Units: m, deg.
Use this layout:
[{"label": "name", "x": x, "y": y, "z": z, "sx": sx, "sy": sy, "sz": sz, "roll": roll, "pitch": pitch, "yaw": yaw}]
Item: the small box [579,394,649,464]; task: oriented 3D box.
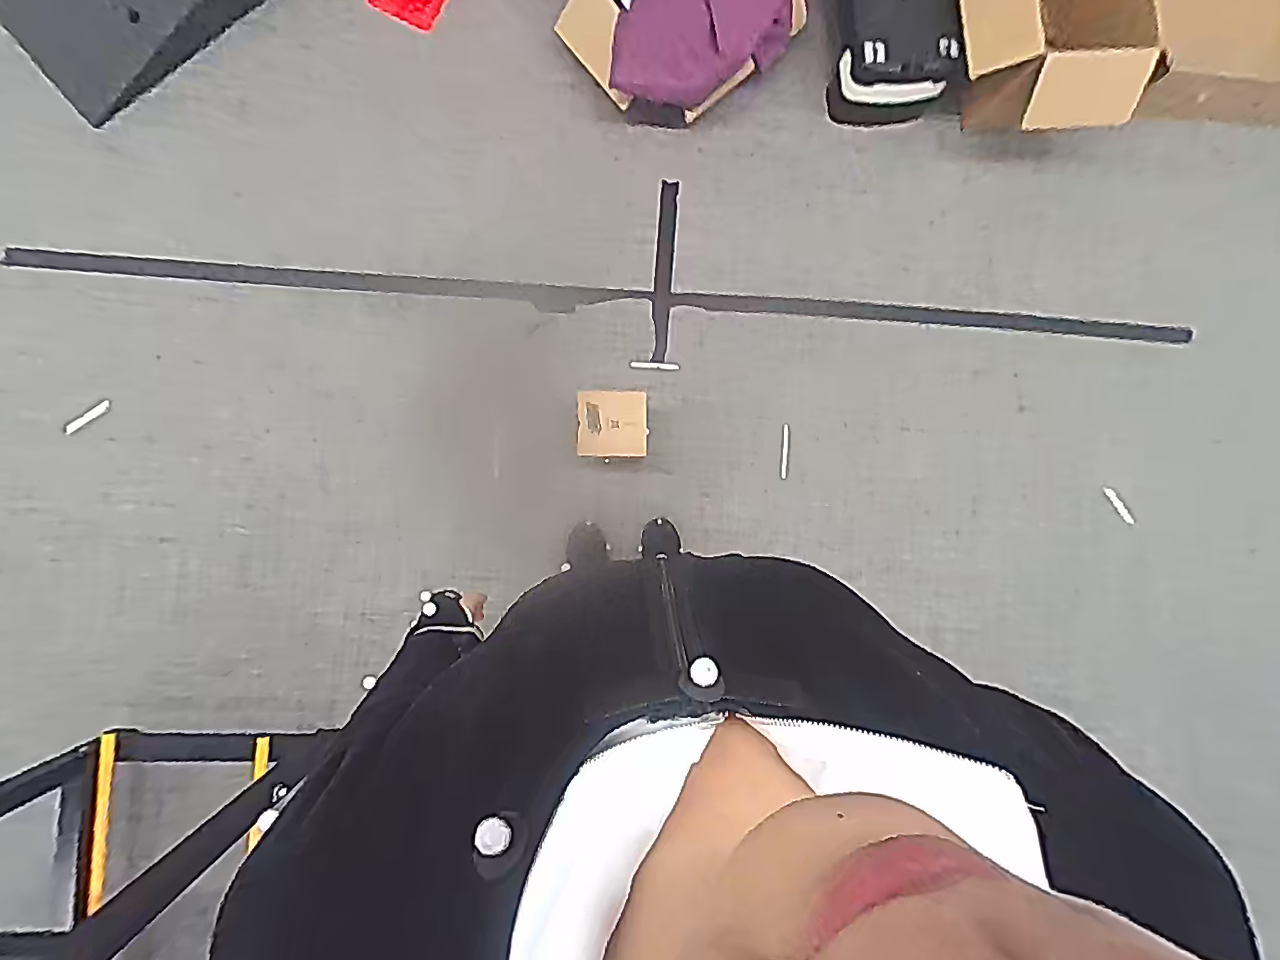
[{"label": "small box", "x": -0.068, "y": -0.129, "z": 1.425, "sx": 0.179, "sy": 0.176, "sz": 0.168, "roll": 0, "pitch": 89, "yaw": -4}]
